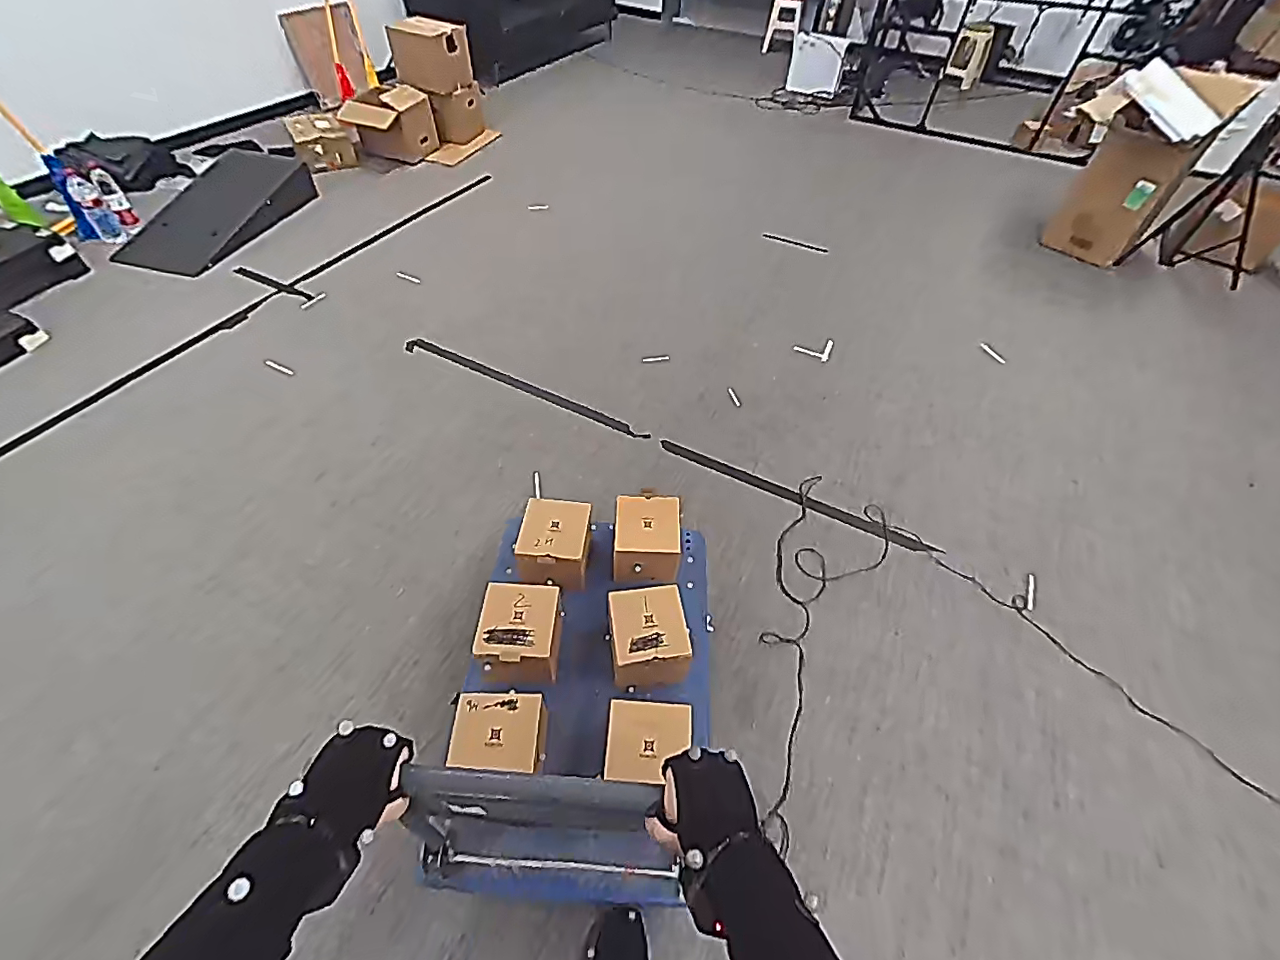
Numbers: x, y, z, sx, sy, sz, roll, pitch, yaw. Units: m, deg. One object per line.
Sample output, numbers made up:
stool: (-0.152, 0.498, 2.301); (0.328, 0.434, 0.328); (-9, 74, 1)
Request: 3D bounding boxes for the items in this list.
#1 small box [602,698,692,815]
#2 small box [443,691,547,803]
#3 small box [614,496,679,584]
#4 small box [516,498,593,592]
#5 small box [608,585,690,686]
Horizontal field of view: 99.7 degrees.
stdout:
small box: (0.015, 0.569, 1.108); (0.168, 0.176, 0.179); (5, 49, 0)
small box: (-0.283, 0.548, 1.103); (0.168, 0.176, 0.179); (3, 50, -3)
small box: (0.016, 0.164, 1.451); (0.168, 0.176, 0.179); (2, 50, -2)
small box: (-0.218, 0.173, 1.425); (0.168, 0.176, 0.179); (6, 51, 1)
small box: (0.017, 0.372, 1.274); (0.168, 0.176, 0.179); (-5, 50, -8)
